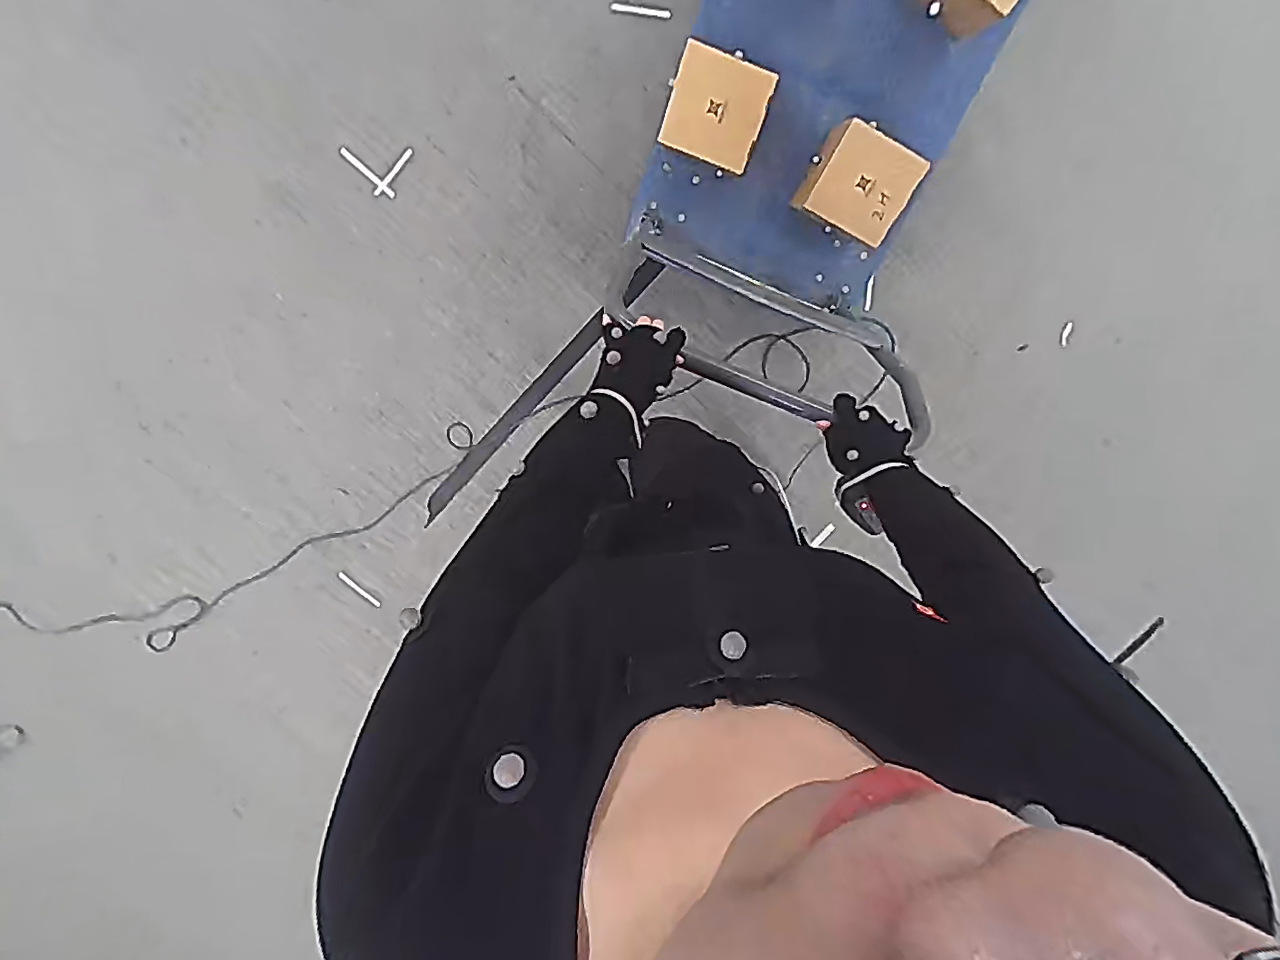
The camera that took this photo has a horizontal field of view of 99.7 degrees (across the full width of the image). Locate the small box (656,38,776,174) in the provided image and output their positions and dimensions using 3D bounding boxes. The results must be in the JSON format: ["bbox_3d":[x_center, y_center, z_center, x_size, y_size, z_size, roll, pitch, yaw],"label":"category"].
[{"bbox_3d":[0.140,-0.717,1.061,0.179,0.176,0.168,18,117,-7],"label":"small box"}]

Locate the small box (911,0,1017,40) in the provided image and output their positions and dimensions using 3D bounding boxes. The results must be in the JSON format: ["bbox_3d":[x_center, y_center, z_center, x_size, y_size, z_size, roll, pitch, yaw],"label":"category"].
[{"bbox_3d":[0.591,-0.913,0.926,0.168,0.176,0.179,31,116,-12],"label":"small box"}]

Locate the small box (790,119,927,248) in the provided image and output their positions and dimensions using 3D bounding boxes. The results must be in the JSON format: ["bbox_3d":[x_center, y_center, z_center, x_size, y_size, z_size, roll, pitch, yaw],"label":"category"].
[{"bbox_3d":[0.431,-0.596,1.103,0.179,0.176,0.168,25,117,-9],"label":"small box"}]
